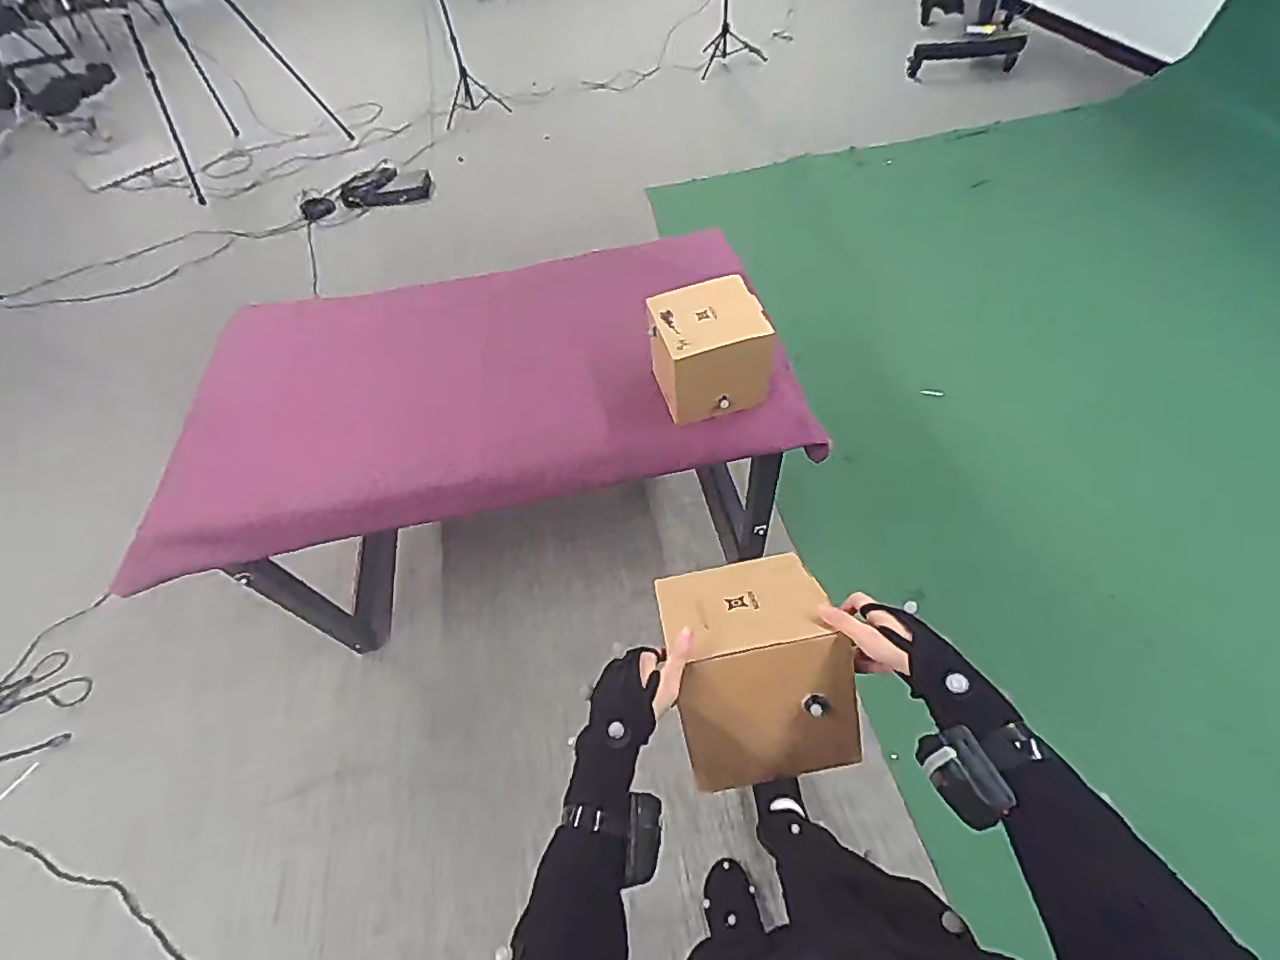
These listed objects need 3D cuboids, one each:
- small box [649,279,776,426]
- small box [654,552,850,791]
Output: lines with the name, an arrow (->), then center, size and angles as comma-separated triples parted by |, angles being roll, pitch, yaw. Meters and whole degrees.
small box -> 0.123, -0.224, 0.968 | 0.179, 0.176, 0.168 | -15, 55, -4
small box -> 0.121, 0.206, 0.603 | 0.179, 0.176, 0.168 | -13, 19, 2
